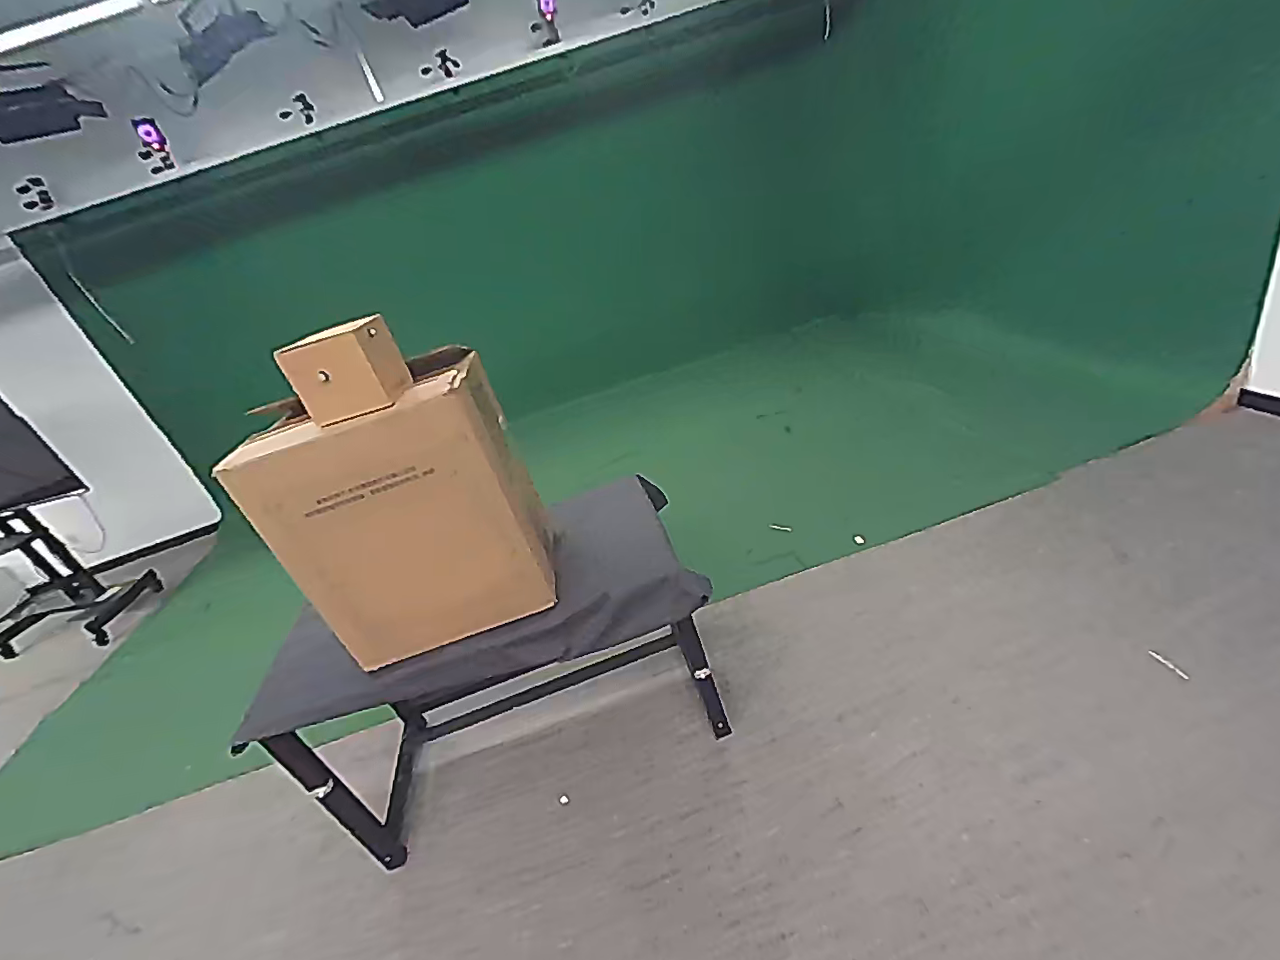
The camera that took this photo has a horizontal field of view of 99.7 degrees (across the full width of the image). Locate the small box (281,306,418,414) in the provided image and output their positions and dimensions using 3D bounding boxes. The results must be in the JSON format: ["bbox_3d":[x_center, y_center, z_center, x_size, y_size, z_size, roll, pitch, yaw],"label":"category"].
[{"bbox_3d":[-0.628,-0.262,1.191,0.179,0.176,0.168,-16,29,4],"label":"small box"}]
